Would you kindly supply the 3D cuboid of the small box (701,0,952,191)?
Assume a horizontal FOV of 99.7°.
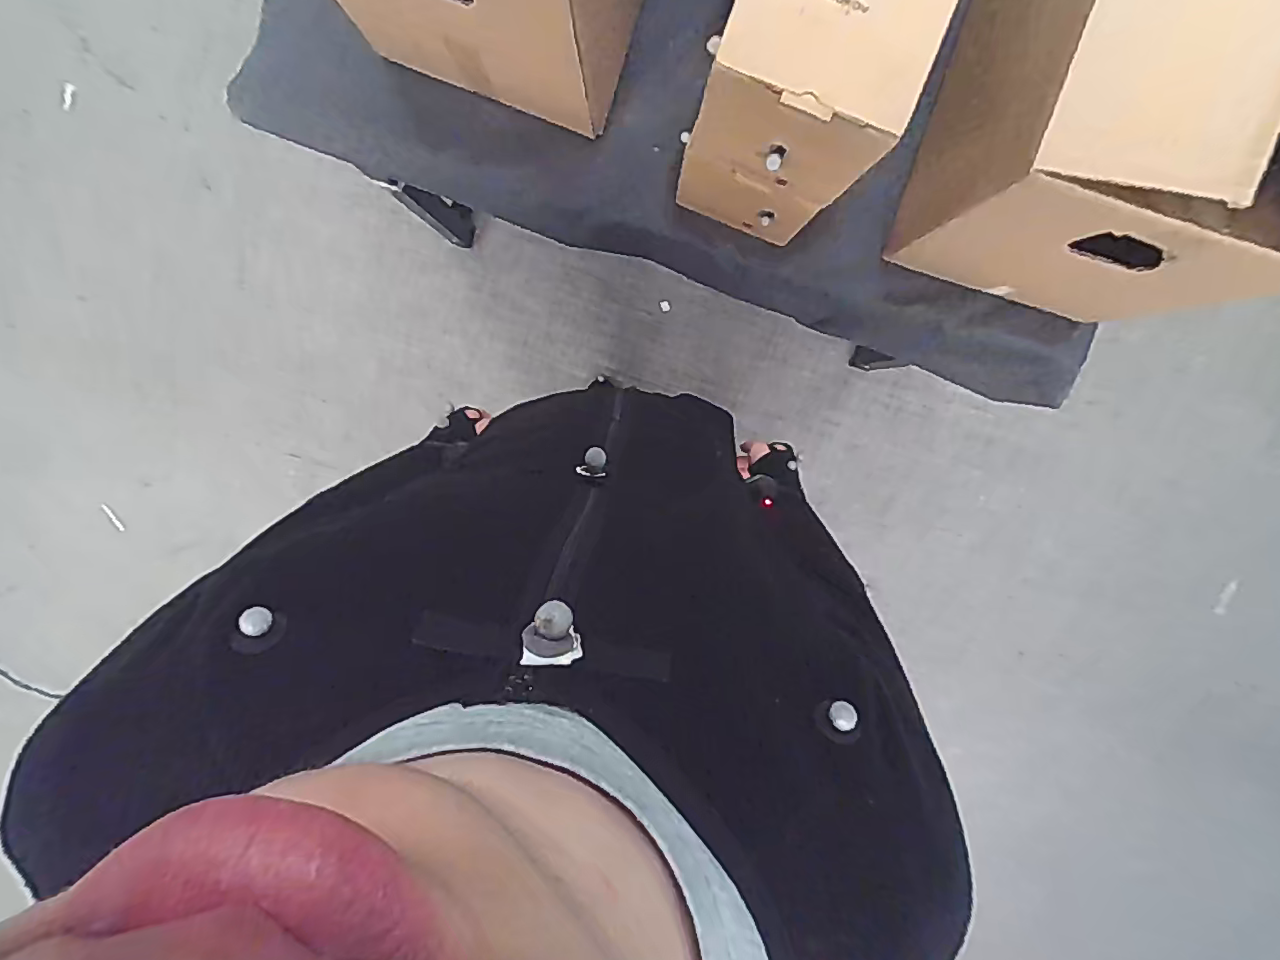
[{"bbox_3d":[0.163,-0.403,0.502,0.168,0.176,0.179,19,100,-4],"label":"small box"}]
